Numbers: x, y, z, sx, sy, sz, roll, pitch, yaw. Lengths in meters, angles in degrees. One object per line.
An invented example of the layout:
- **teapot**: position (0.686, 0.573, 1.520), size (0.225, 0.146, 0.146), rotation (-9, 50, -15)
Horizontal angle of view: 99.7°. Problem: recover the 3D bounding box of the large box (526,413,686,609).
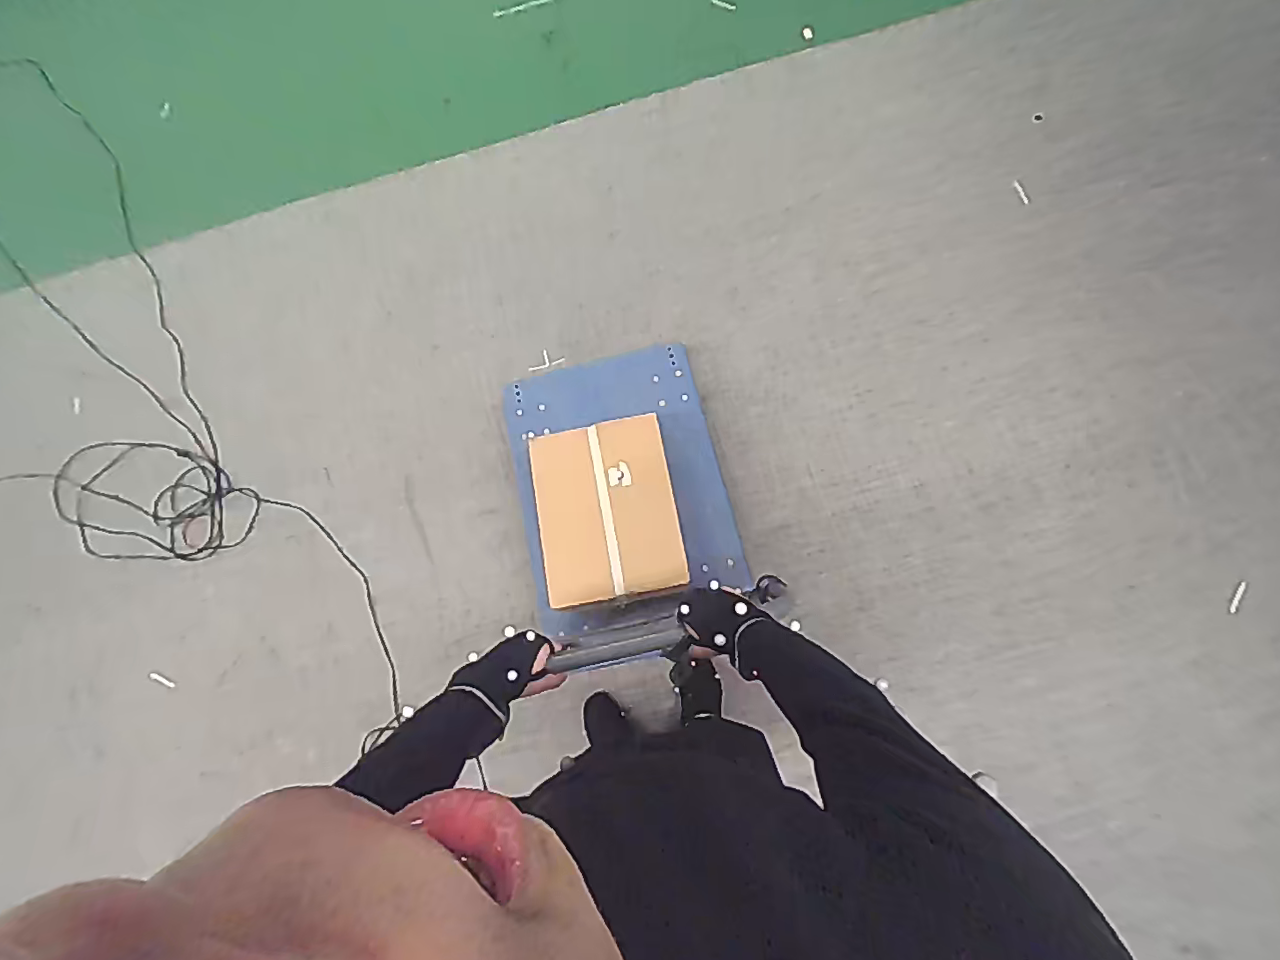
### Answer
- **large box**: position (-0.073, 0.095, 1.371), size (0.320, 0.320, 0.408), rotation (-11, 74, 1)
